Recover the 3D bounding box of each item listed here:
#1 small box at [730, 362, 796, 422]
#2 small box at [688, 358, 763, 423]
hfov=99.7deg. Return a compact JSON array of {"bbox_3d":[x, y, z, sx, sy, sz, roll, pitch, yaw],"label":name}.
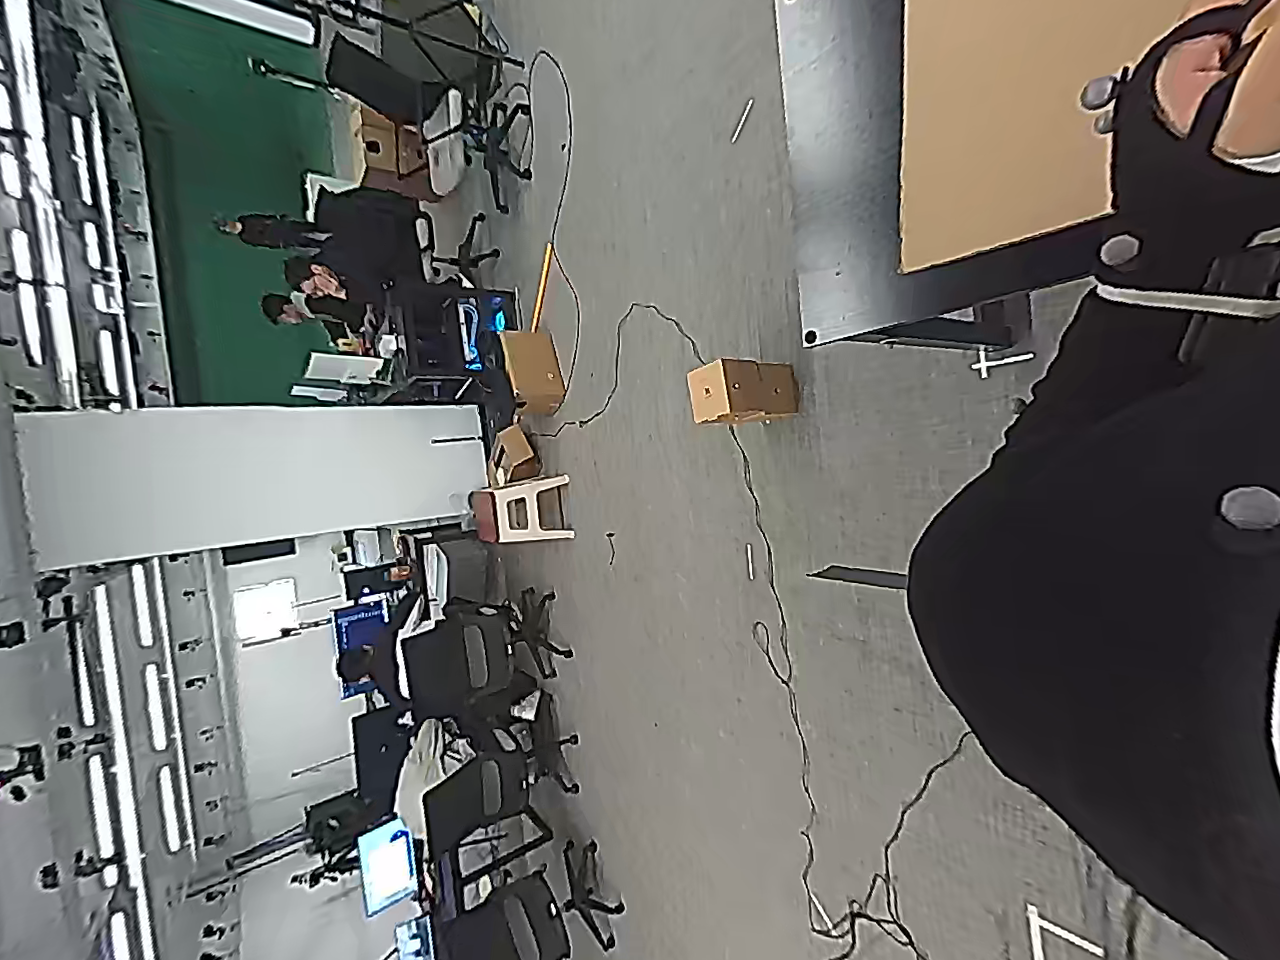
[{"bbox_3d":[0.417,-0.301,1.871,0.168,0.176,0.179,-9,89,55],"label":"small box"},{"bbox_3d":[0.284,-0.291,1.778,0.168,0.176,0.179,-14,83,53],"label":"small box"}]
